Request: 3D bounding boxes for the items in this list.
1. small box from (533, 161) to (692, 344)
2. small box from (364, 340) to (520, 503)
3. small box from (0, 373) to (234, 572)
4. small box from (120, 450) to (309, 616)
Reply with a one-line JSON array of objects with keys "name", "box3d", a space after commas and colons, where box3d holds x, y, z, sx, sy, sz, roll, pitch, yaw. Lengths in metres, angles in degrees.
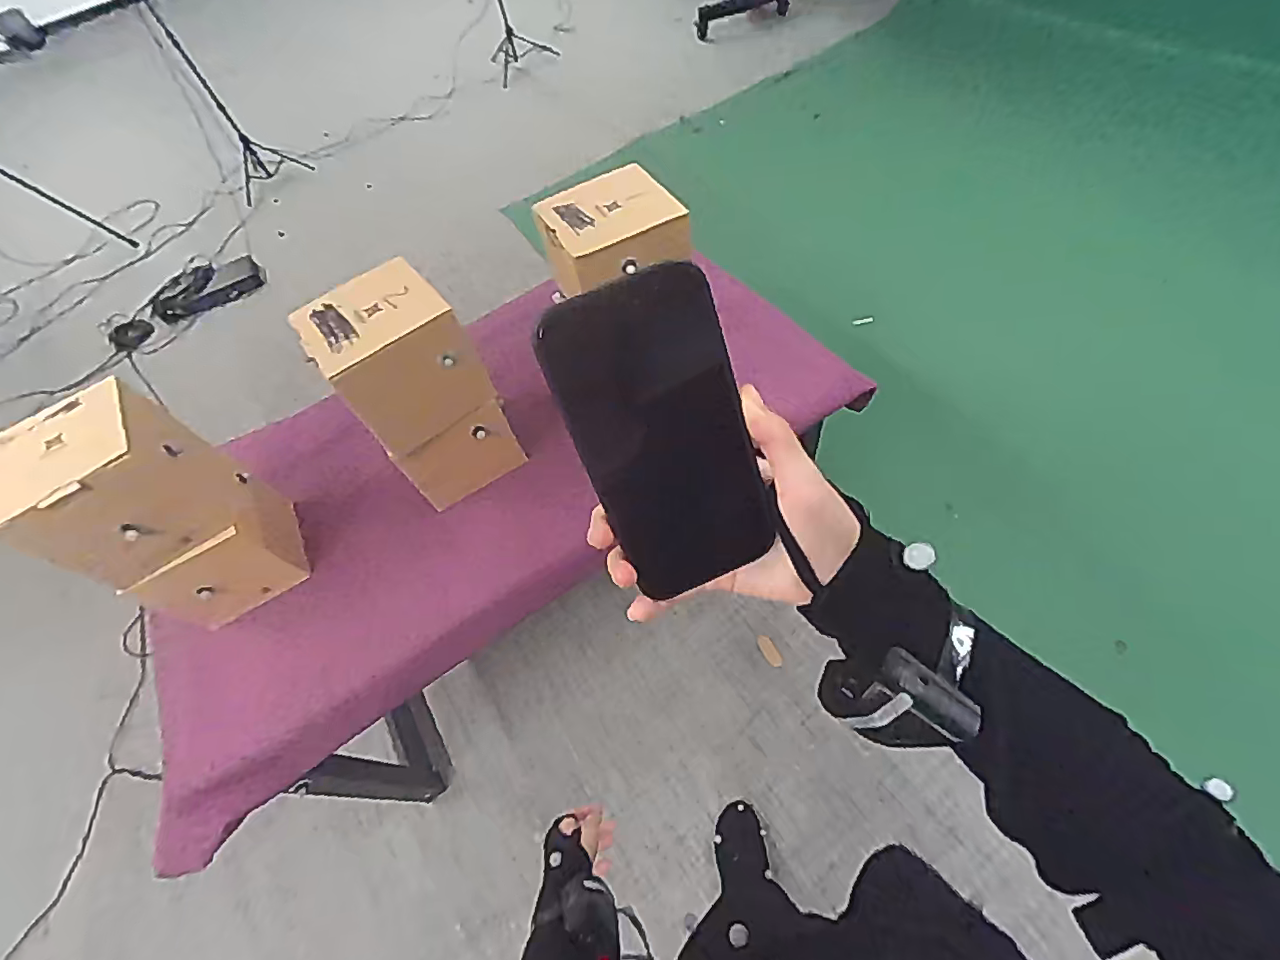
[{"name": "small box", "box3d": [-0.035, -0.339, 0.822, 0.179, 0.176, 0.168, -26, 57, -8]}, {"name": "small box", "box3d": [-0.320, -0.094, 0.909, 0.179, 0.176, 0.168, -32, 58, -10]}, {"name": "small box", "box3d": [-0.687, 0.000, 0.717, 0.168, 0.176, 0.179, -35, 60, -13]}, {"name": "small box", "box3d": [-0.659, 0.093, 0.850, 0.168, 0.176, 0.179, -31, 58, -10]}]
